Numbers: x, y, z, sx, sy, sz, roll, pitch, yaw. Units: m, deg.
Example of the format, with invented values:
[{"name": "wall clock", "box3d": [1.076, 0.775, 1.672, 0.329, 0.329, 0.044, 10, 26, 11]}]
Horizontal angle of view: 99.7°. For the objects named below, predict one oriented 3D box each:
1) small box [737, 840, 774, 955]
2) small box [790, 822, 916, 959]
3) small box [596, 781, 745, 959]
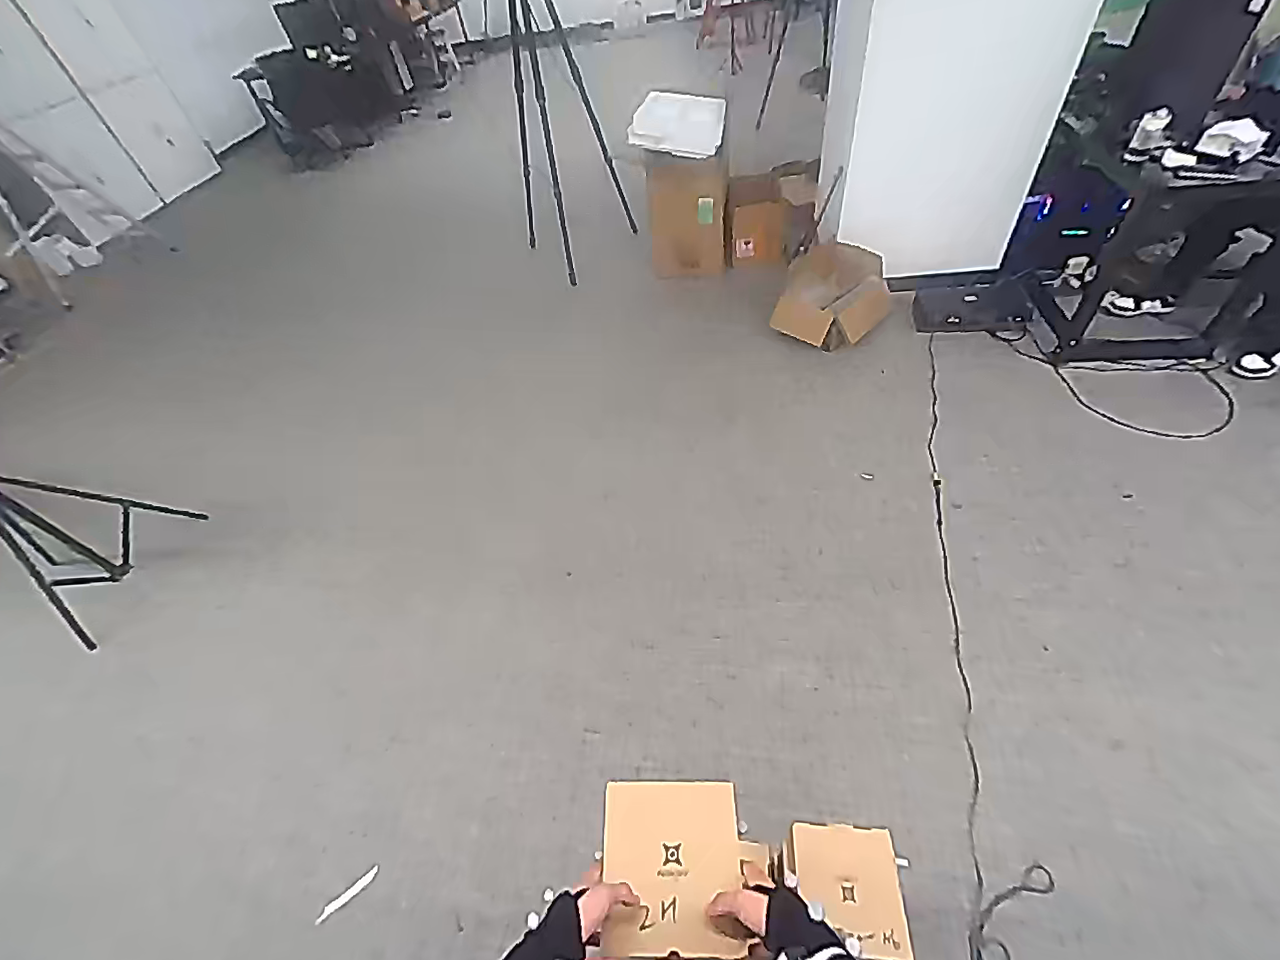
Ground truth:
[{"name": "small box", "box3d": [0.174, 0.828, 1.087, 0.179, 0.176, 0.168, 2, 49, 14]}, {"name": "small box", "box3d": [0.353, 0.714, 0.931, 0.168, 0.176, 0.179, -2, 48, 11]}, {"name": "small box", "box3d": [0.039, 0.505, 0.698, 0.168, 0.176, 0.179, -1, 51, 3]}]
